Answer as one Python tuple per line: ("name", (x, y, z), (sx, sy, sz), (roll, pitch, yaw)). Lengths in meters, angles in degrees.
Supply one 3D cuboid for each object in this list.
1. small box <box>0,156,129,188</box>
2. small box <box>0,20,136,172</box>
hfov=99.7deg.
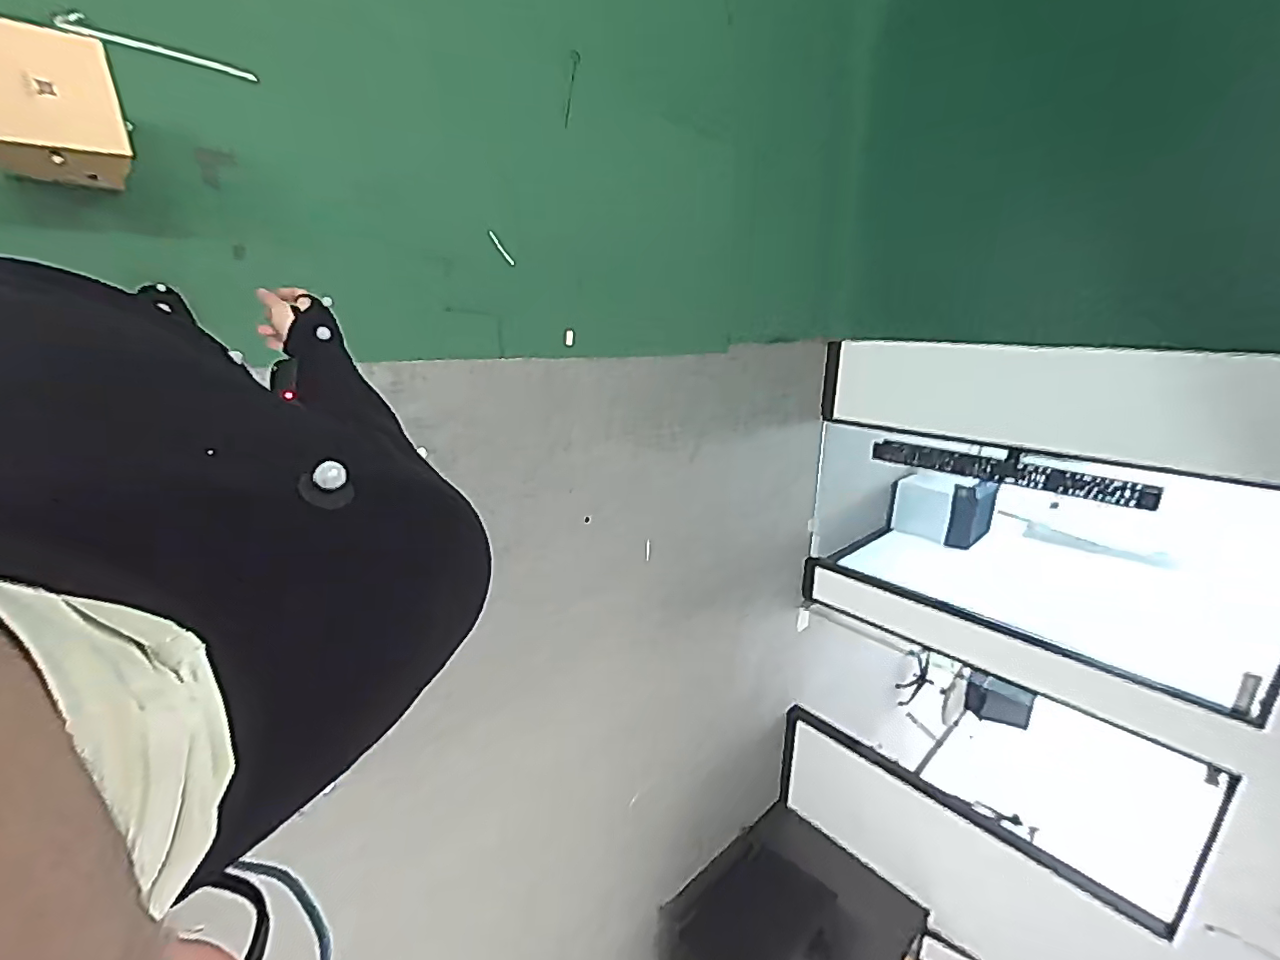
("small box", (-1.083, -0.653, 1.000), (0.179, 0.176, 0.168), (-13, 111, -40))
("small box", (-0.968, -0.620, 0.889), (0.179, 0.176, 0.168), (-16, 114, -38))
